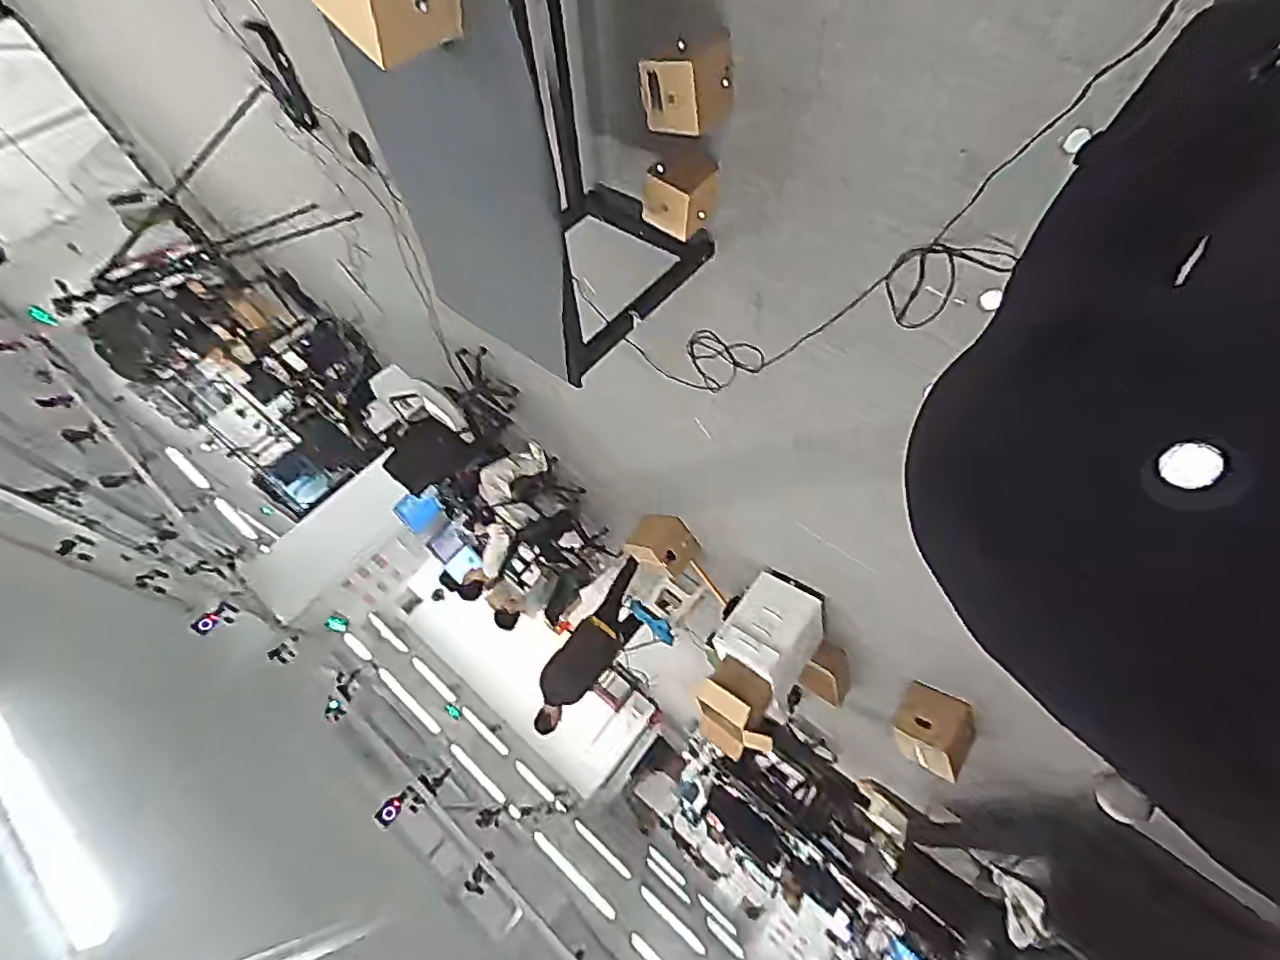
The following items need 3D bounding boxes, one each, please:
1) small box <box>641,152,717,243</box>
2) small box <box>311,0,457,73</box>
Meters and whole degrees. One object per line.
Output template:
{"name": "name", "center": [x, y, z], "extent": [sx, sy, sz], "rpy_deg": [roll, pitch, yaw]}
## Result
{"name": "small box", "center": [0.123, -0.898, 1.712], "extent": [0.179, 0.176, 0.168], "rpy_deg": [37, 157, 16]}
{"name": "small box", "center": [-0.398, -0.791, 0.829], "extent": [0.179, 0.176, 0.168], "rpy_deg": [45, 158, 1]}
